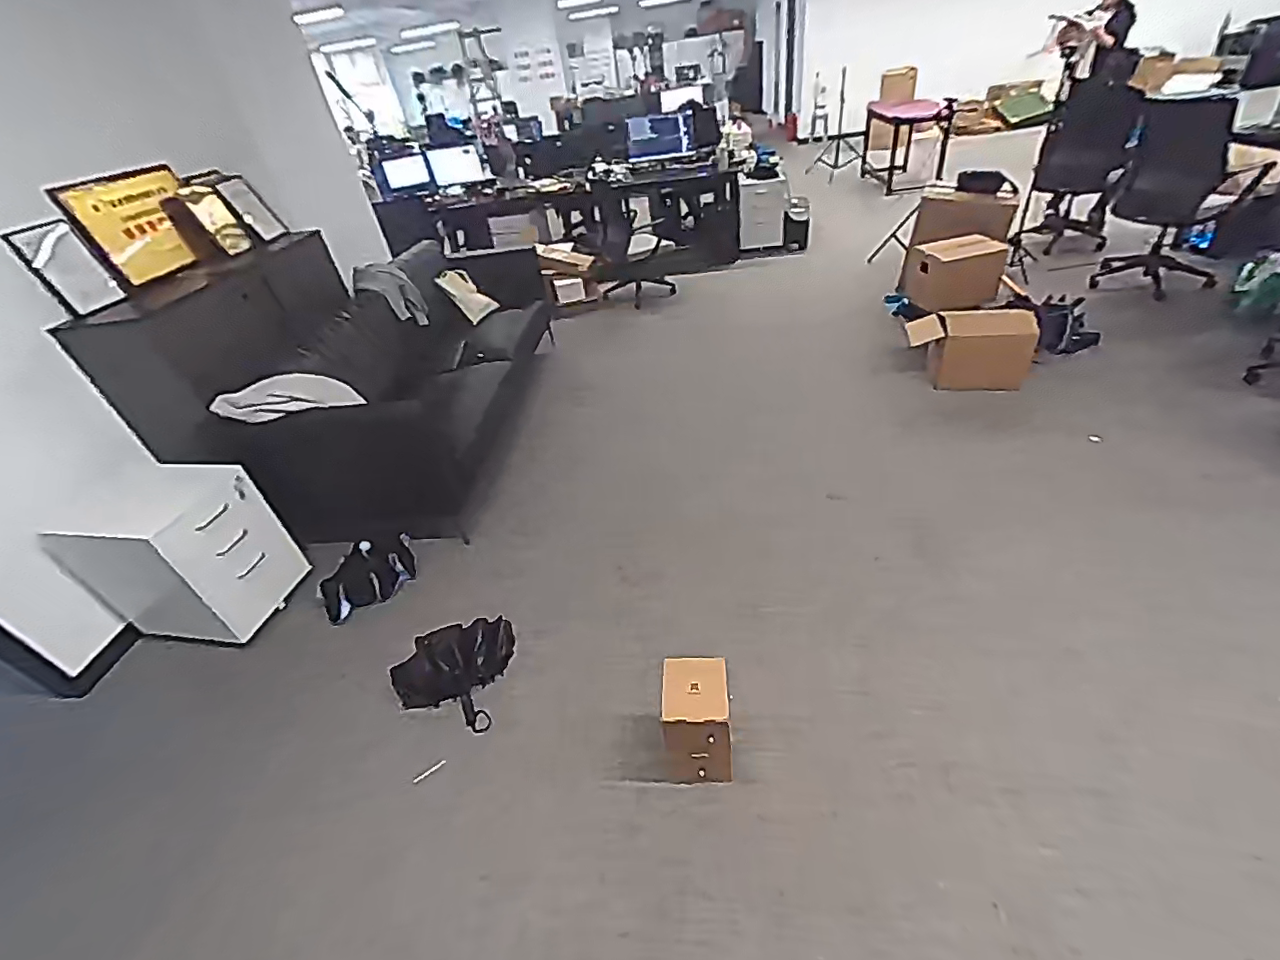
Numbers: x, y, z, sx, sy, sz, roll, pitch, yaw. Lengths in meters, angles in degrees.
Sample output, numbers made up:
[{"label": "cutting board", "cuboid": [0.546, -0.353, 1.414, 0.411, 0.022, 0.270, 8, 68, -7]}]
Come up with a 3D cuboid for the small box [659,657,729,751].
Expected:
[{"label": "small box", "cuboid": [0.142, 0.585, 1.409, 0.168, 0.176, 0.179, -3, 36, 6]}]

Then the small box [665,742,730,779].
[{"label": "small box", "cuboid": [0.162, 0.714, 1.506, 0.168, 0.176, 0.179, -4, 38, 6]}]
